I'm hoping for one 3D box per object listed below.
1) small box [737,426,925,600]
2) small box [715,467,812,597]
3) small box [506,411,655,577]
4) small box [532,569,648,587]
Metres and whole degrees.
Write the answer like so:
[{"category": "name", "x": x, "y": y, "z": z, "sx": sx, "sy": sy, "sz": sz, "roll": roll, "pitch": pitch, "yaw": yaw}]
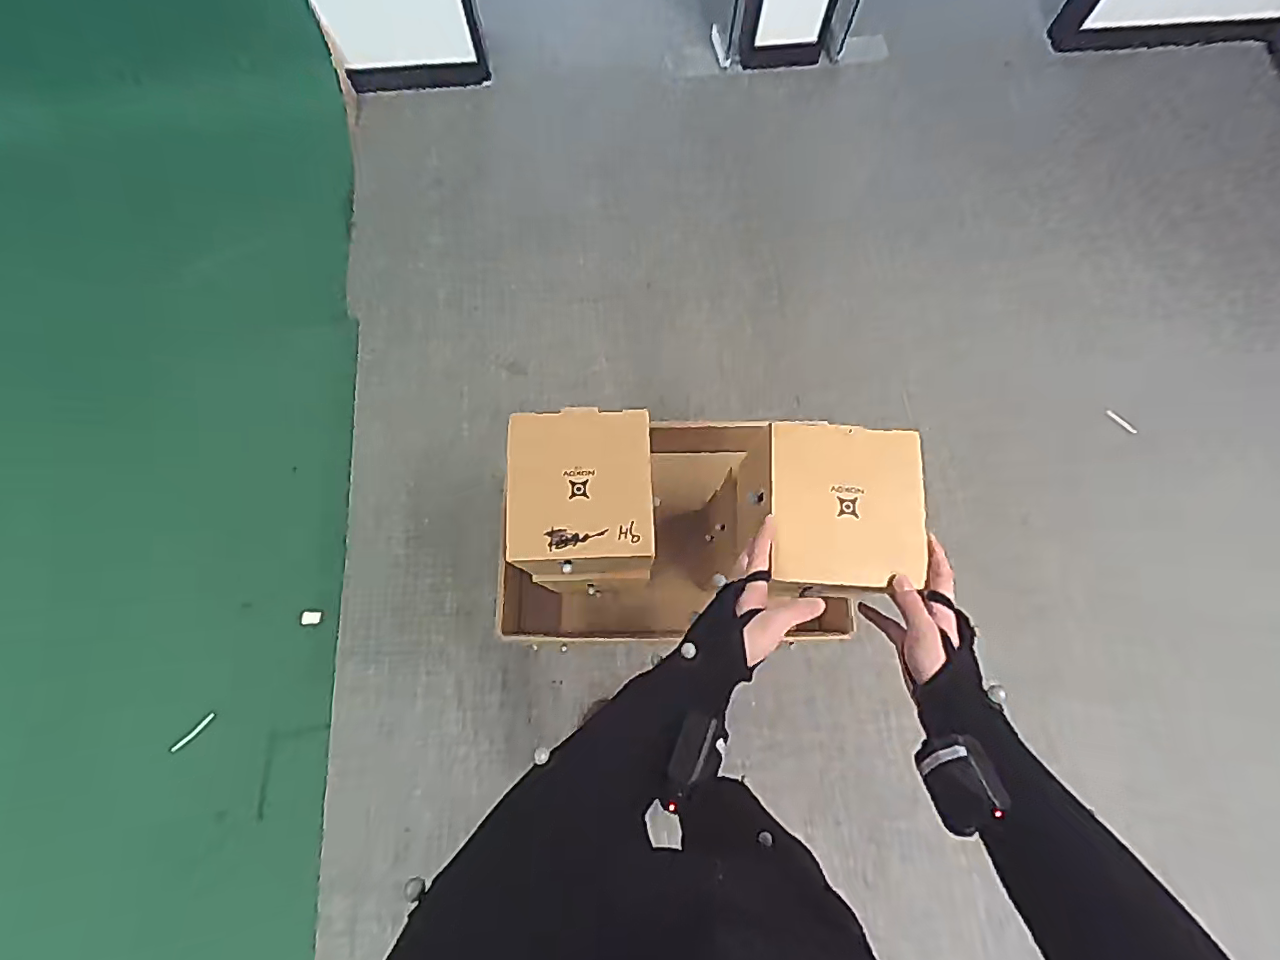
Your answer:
[{"category": "small box", "x": 0.214, "y": 0.049, "z": 0.649, "sx": 0.168, "sy": 0.176, "sz": 0.179, "roll": 3, "pitch": 74, "yaw": 0}, {"category": "small box", "x": 0.212, "y": 0.089, "z": 0.849, "sx": 0.168, "sy": 0.176, "sz": 0.179, "roll": 2, "pitch": 73, "yaw": 1}, {"category": "small box", "x": -0.068, "y": 0.025, "z": 0.692, "sx": 0.168, "sy": 0.176, "sz": 0.179, "roll": -2, "pitch": 75, "yaw": 0}, {"category": "small box", "x": -0.071, "y": 0.077, "z": 0.848, "sx": 0.168, "sy": 0.176, "sz": 0.179, "roll": -1, "pitch": 75, "yaw": -1}]
